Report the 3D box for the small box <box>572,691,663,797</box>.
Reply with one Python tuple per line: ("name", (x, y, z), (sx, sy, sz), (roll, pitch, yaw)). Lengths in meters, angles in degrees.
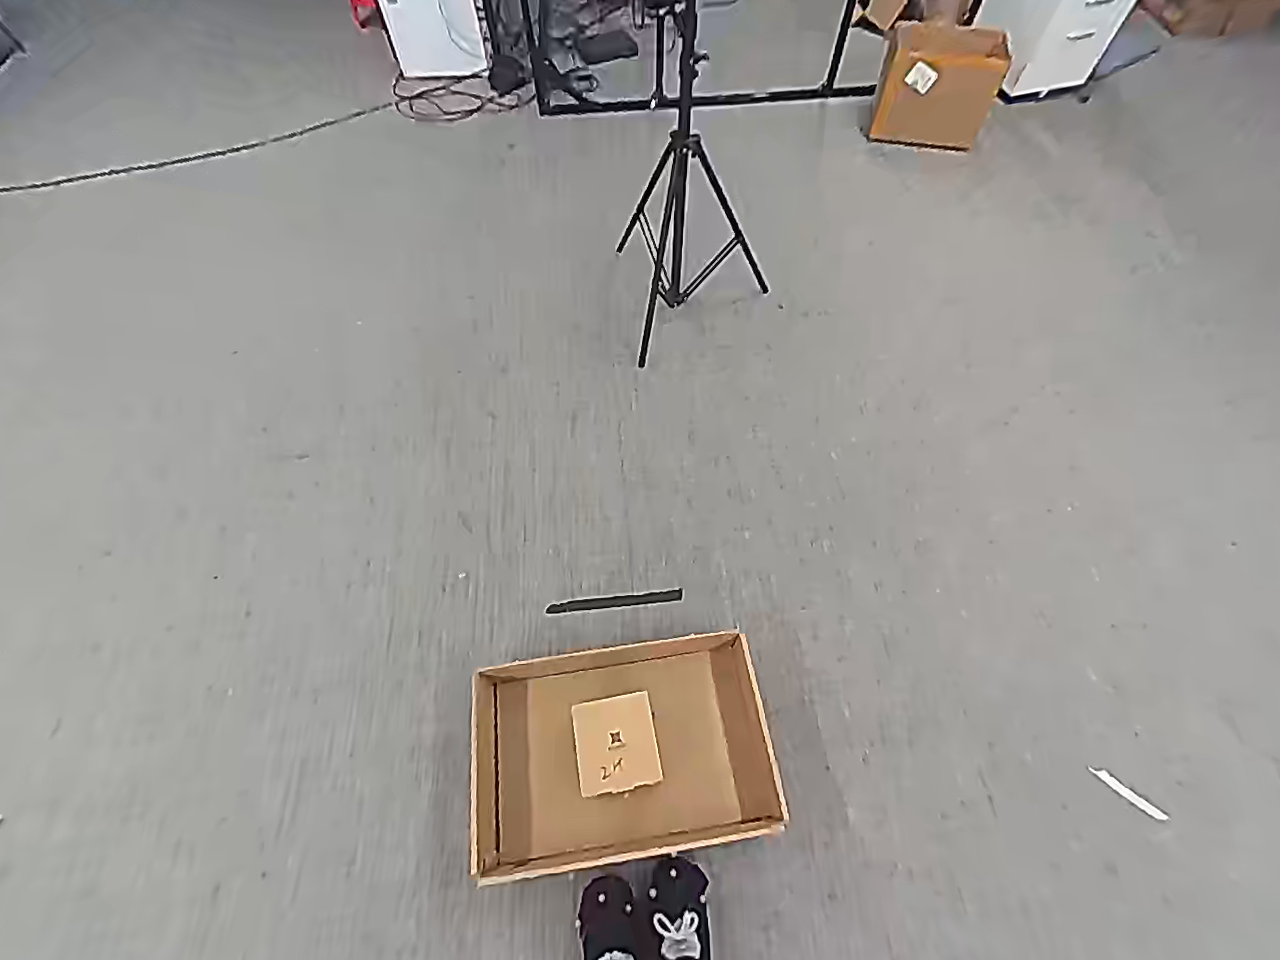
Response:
("small box", (-0.049, 0.575, 1.170), (0.168, 0.176, 0.179), (-10, 61, -4))
